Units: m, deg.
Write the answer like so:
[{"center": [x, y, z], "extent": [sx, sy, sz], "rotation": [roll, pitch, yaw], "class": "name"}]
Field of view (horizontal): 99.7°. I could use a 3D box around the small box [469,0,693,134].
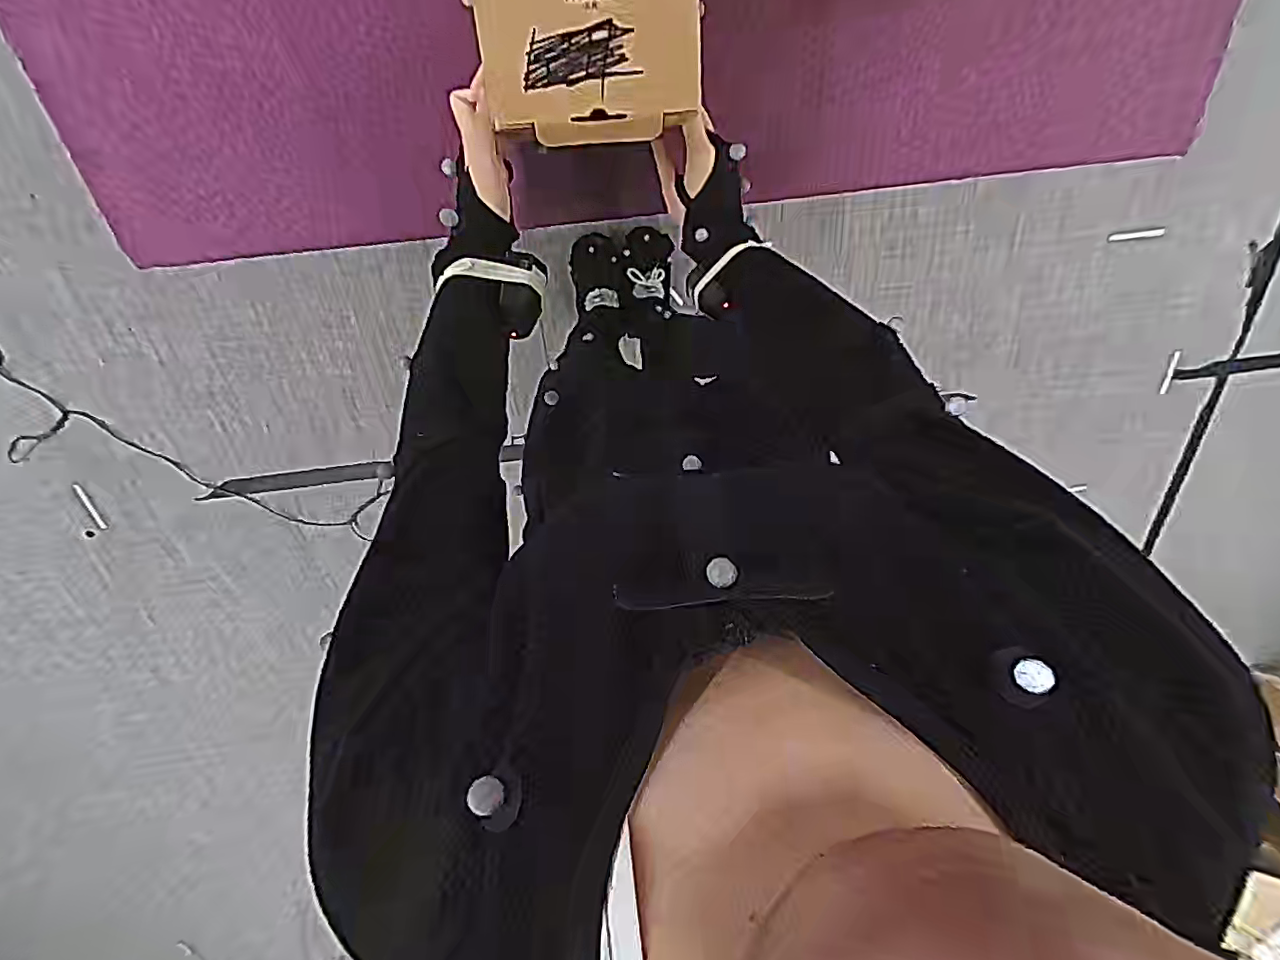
[{"center": [-0.050, -0.400, 0.453], "extent": [0.168, 0.176, 0.179], "rotation": [-7, 118, -4], "class": "small box"}]
